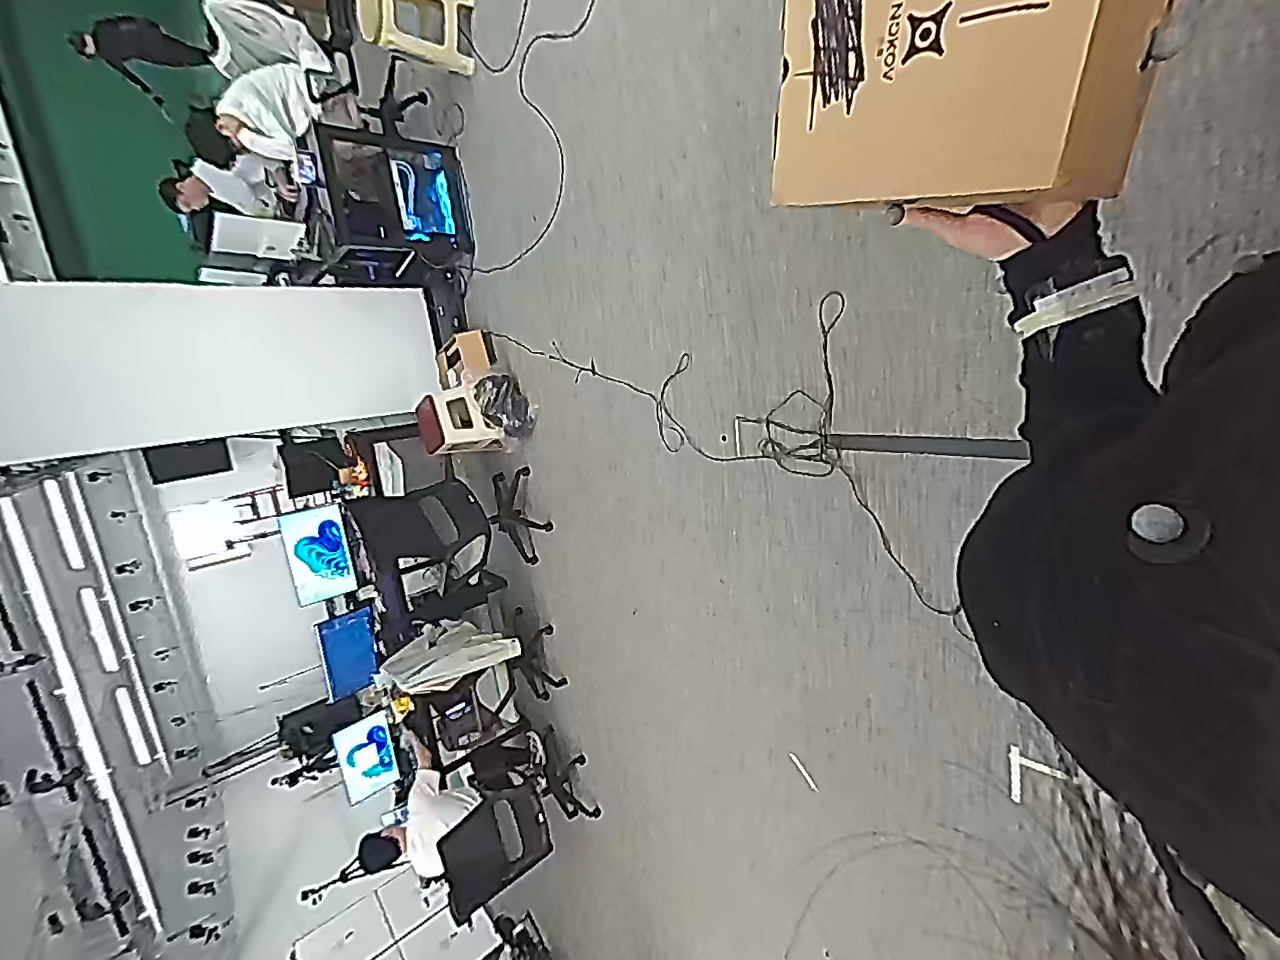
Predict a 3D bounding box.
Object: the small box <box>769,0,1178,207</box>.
[{"bbox_3d":[0.210,-0.272,0.350,0.179,0.176,0.168,23,125,43],"label":"small box"}]
